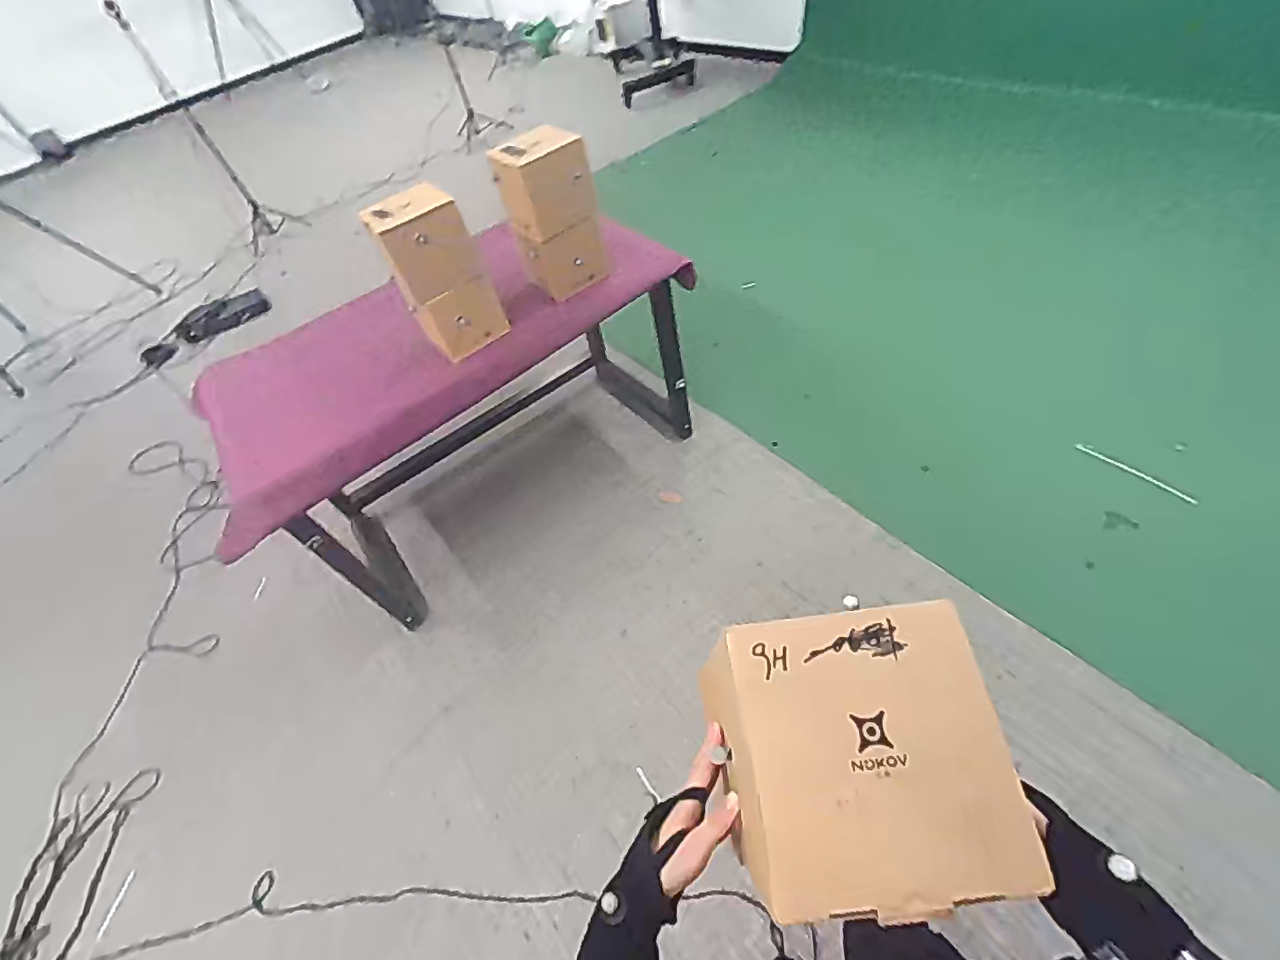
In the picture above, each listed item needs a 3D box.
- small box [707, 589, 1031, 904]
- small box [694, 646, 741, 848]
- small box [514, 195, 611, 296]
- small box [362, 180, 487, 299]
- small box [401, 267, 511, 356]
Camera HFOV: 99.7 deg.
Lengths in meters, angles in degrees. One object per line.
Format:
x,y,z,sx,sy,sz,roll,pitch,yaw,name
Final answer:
0.149,0.197,0.428,0.168,0.176,0.179,-7,65,0,small box
0.153,0.270,0.578,0.168,0.176,0.179,-5,65,-1,small box
-0.197,-0.607,1.413,0.168,0.176,0.179,-34,52,-15,small box
-0.474,-0.532,1.203,0.179,0.176,0.168,-34,51,-16,small box
-0.445,-0.431,1.330,0.168,0.176,0.179,-37,52,-17,small box
